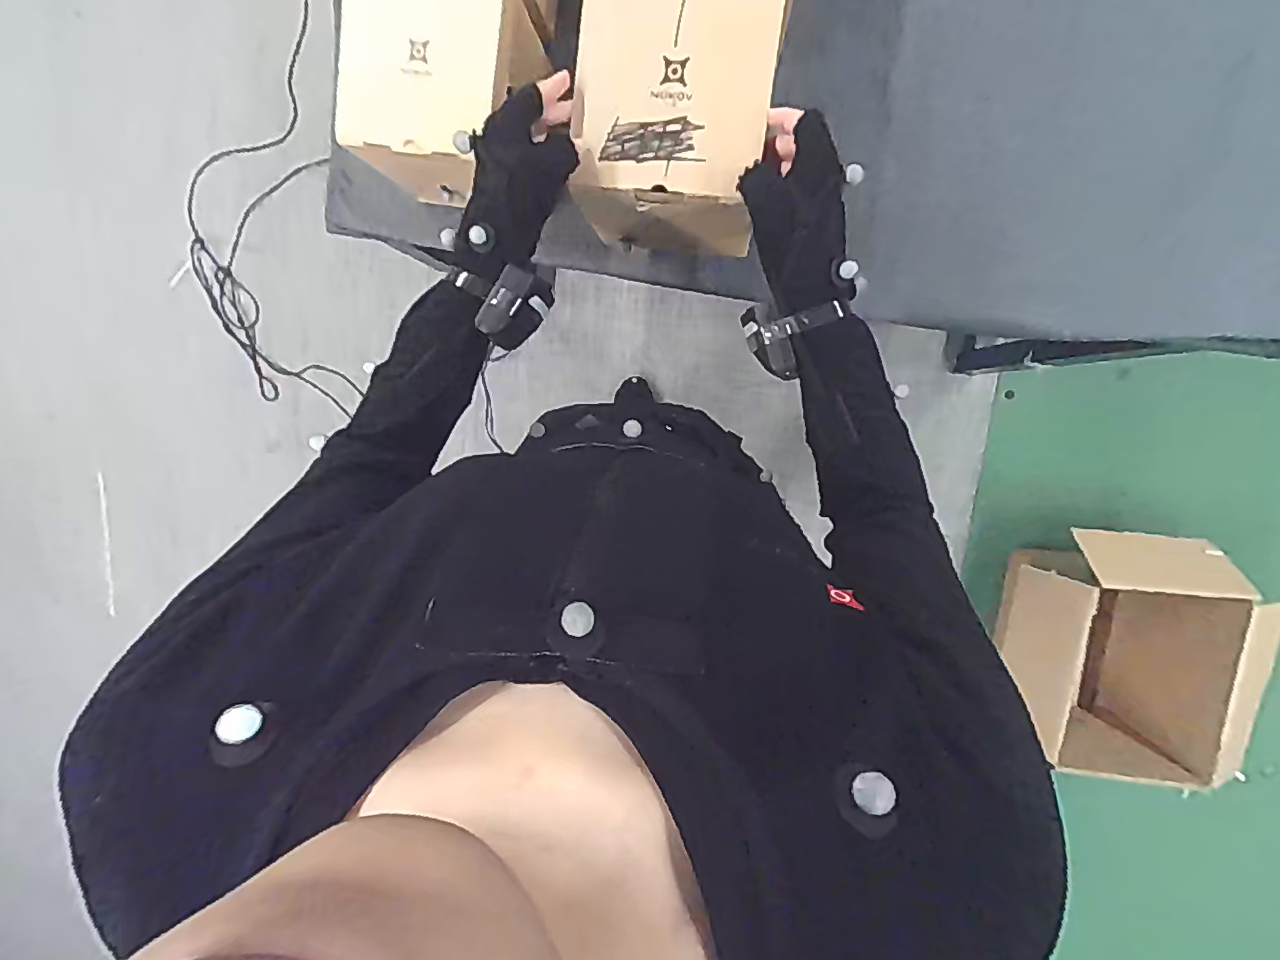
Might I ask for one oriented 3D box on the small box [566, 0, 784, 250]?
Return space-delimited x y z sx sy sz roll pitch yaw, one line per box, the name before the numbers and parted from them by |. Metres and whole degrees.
small box | 0.037 -0.339 0.525 0.168 0.176 0.179 9 98 6
